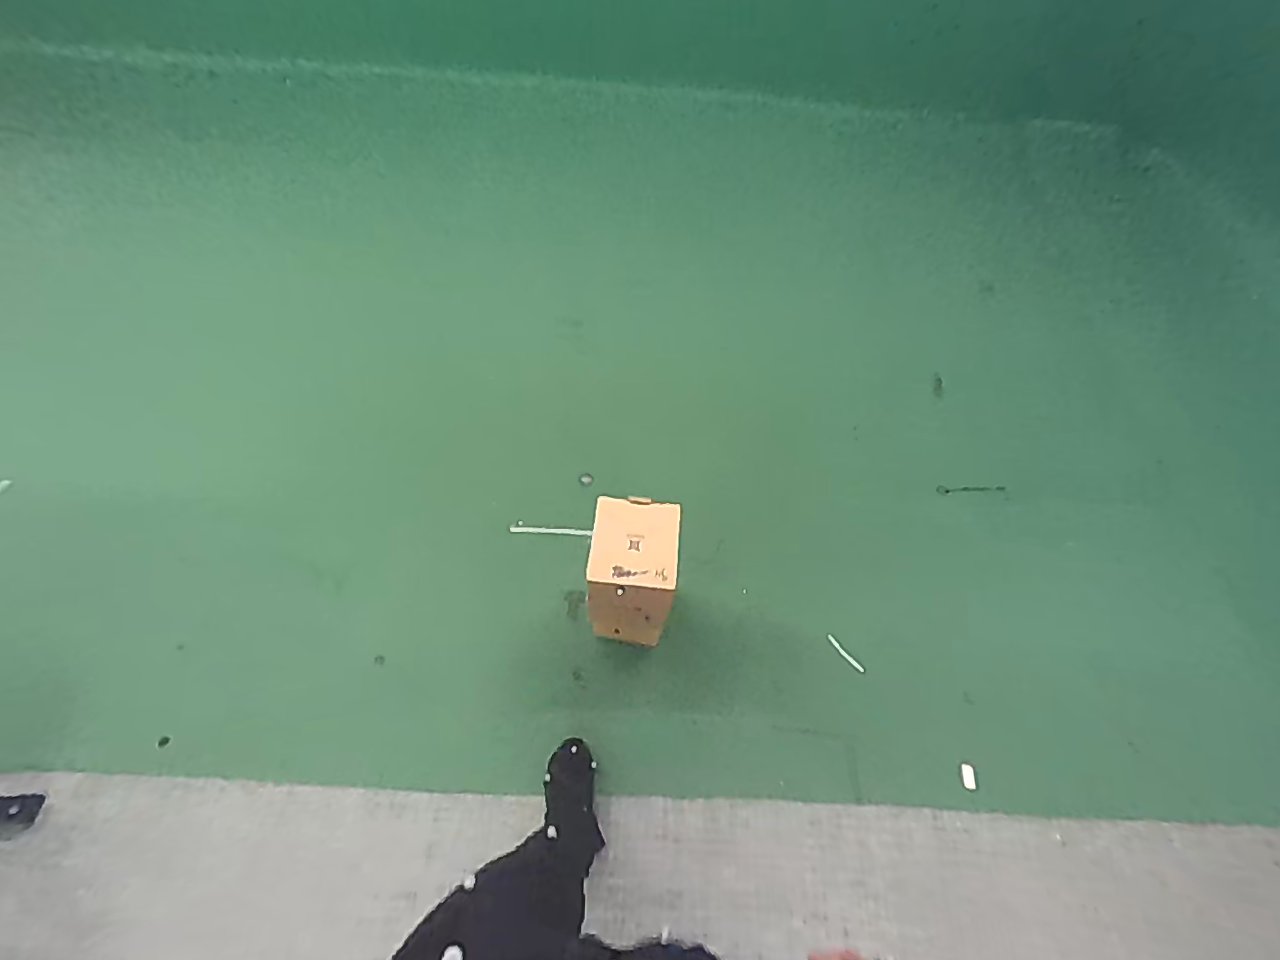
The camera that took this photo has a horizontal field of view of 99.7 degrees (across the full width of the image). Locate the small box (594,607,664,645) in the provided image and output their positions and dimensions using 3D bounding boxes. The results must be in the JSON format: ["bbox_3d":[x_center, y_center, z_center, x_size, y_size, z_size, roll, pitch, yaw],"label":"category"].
[{"bbox_3d":[-0.017,0.309,1.375,0.168,0.176,0.179,10,61,2],"label":"small box"}]

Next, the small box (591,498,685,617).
[{"bbox_3d":[-0.007,0.158,1.082,0.168,0.176,0.179,7,60,-1],"label":"small box"}]
